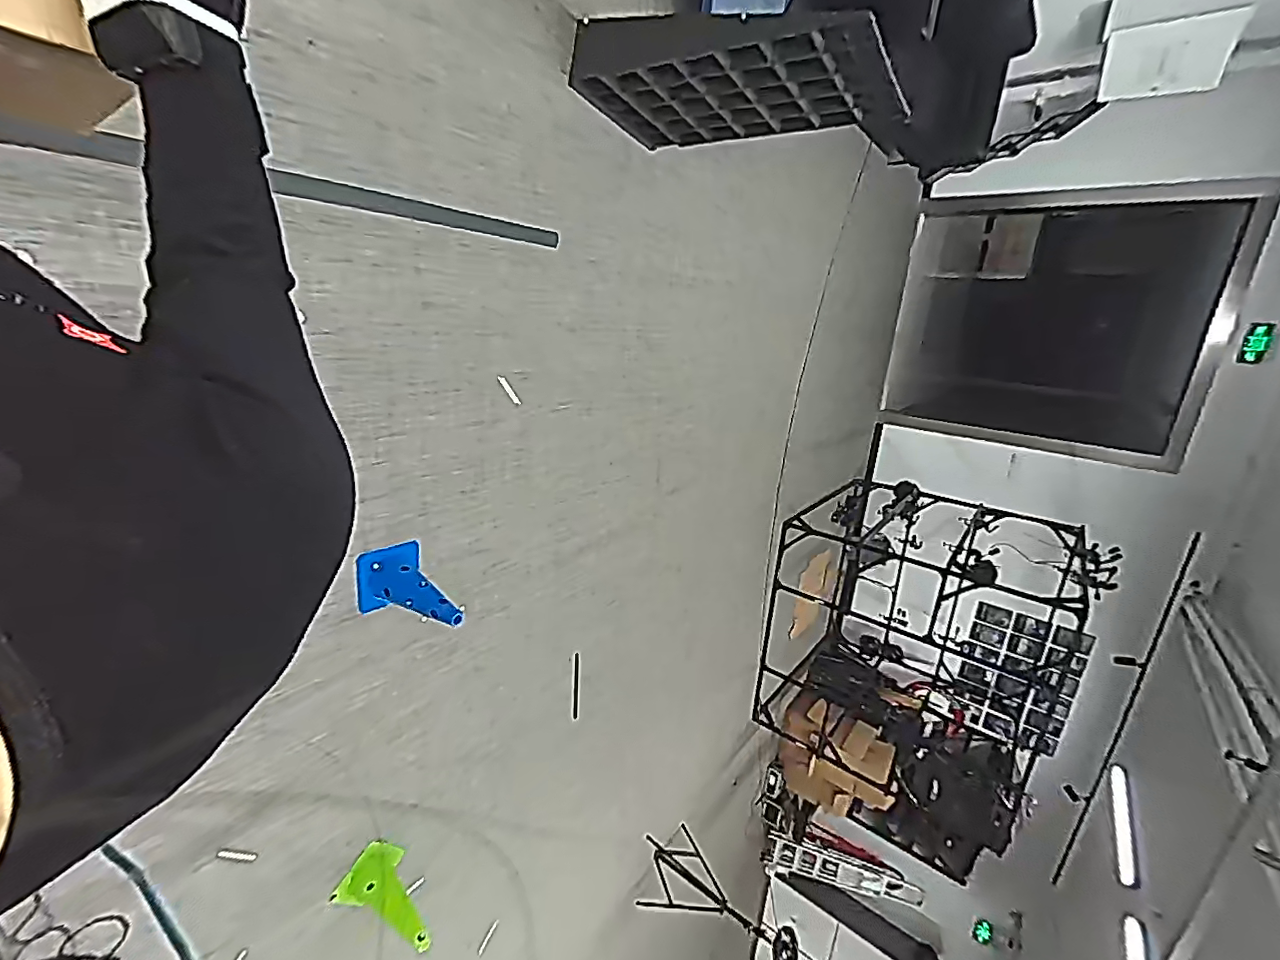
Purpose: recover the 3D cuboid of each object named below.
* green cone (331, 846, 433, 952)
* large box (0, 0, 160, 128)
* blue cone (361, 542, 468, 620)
[{"bbox_3d":[-0.817,1.440,1.807,0.202,0.368,0.200,-56,142,-27],"label":"green cone"},{"bbox_3d":[-0.575,-0.440,0.283,0.408,0.320,0.320,-15,116,-51],"label":"large box"},{"bbox_3d":[-0.654,0.337,1.612,0.192,0.380,0.193,-13,114,-53],"label":"blue cone"}]
